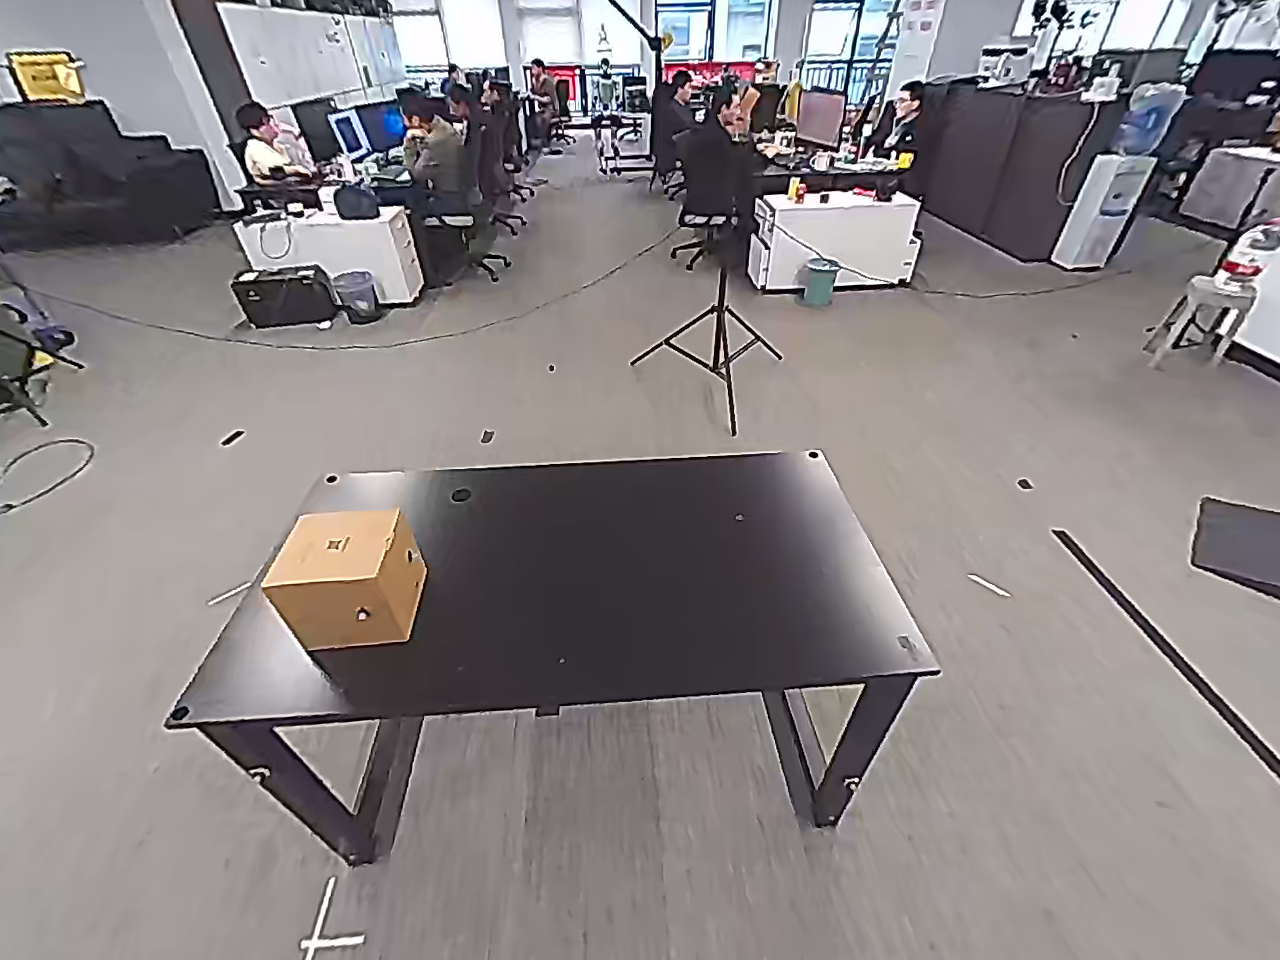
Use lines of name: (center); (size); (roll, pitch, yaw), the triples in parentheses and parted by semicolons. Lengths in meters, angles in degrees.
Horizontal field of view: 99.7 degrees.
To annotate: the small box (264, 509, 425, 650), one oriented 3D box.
small box: (-0.491, 0.172, 0.935); (0.179, 0.176, 0.168); (-5, 38, -4)
